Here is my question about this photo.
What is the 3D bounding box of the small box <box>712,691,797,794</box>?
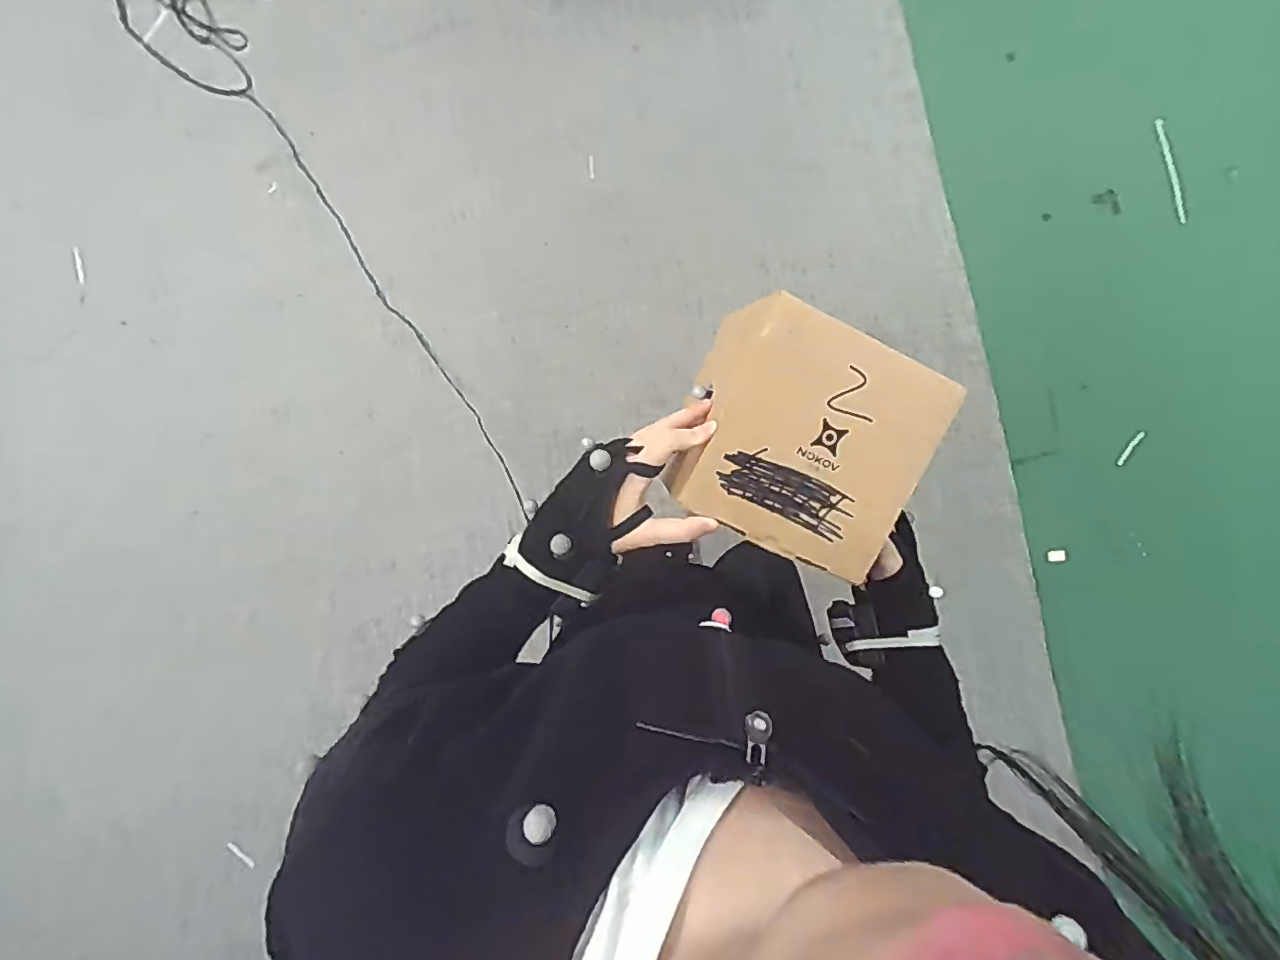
[{"bbox_3d":[0.290,0.672,1.401,0.168,0.176,0.179,-10,86,-1],"label":"small box"}]
